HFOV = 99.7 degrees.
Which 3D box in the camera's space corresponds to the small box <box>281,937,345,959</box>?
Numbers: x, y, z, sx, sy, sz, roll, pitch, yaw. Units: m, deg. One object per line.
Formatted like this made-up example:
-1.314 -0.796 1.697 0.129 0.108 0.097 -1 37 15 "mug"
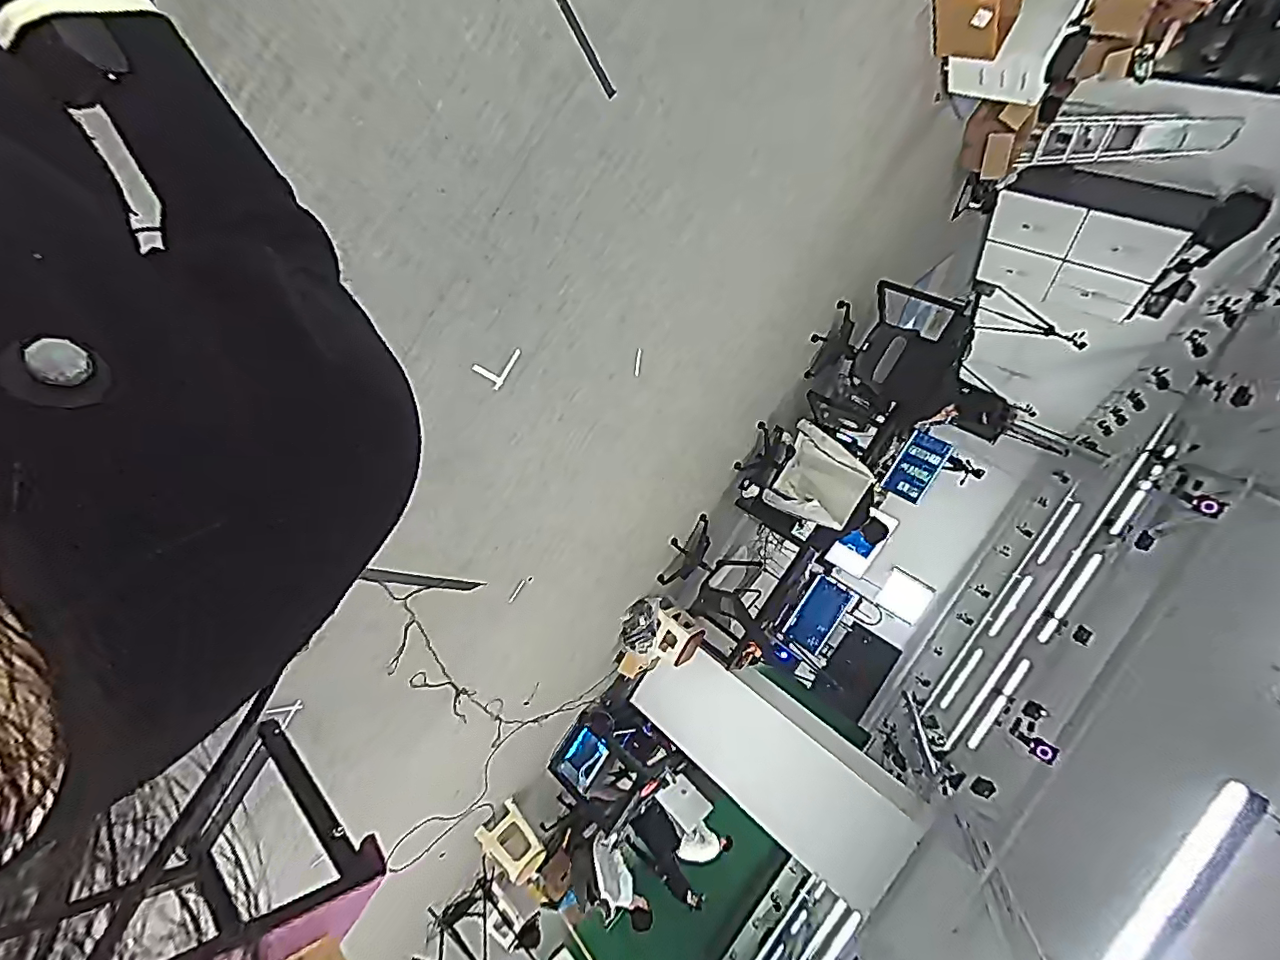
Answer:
-0.938 1.430 1.502 0.179 0.176 0.168 -58 153 5 "small box"
